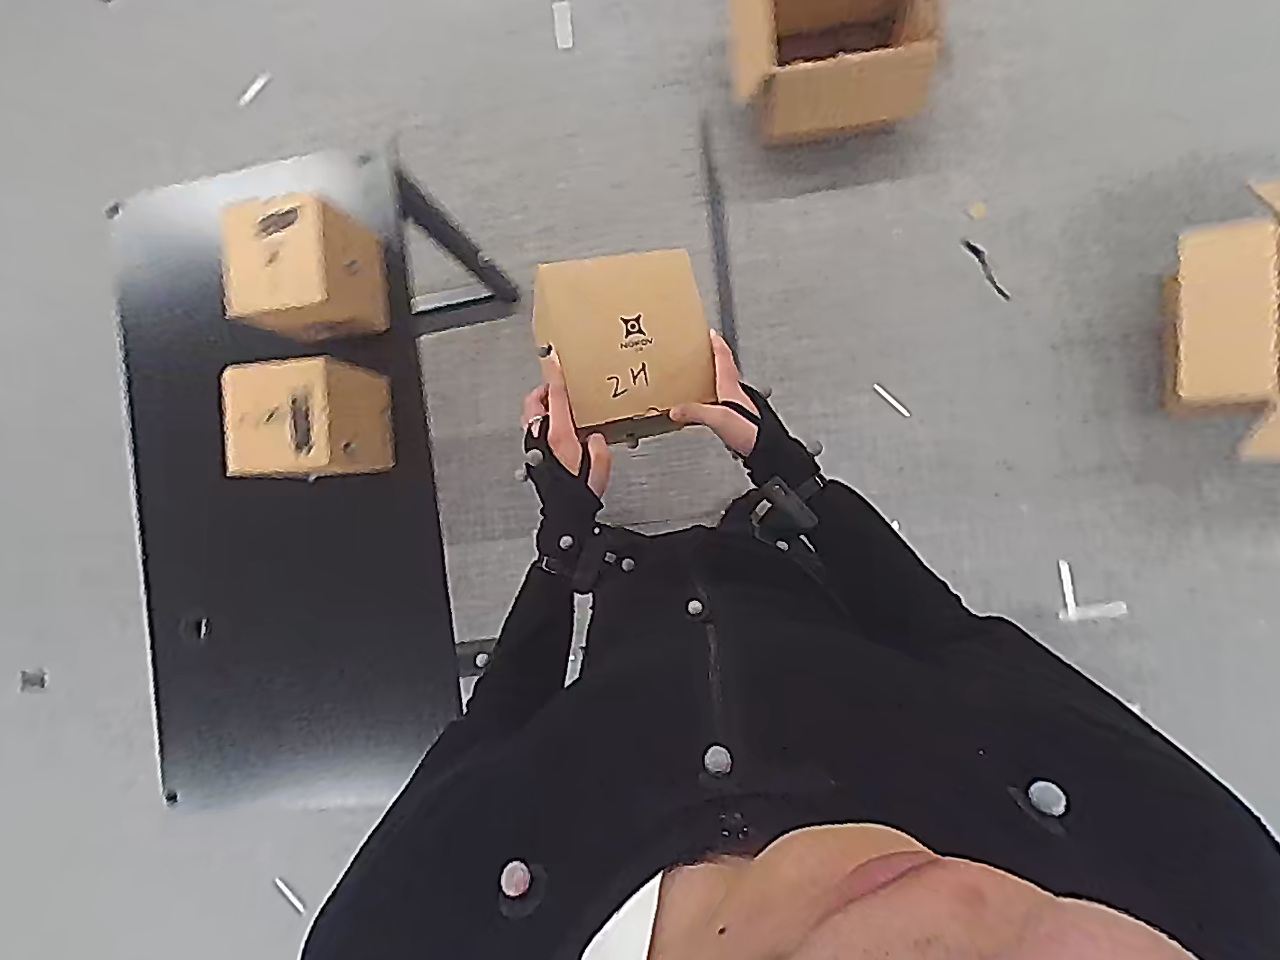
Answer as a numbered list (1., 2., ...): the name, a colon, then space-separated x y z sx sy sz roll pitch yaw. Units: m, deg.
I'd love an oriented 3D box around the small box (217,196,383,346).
1. small box: -0.562 -0.340 0.912 0.168 0.176 0.179 -6 90 8
